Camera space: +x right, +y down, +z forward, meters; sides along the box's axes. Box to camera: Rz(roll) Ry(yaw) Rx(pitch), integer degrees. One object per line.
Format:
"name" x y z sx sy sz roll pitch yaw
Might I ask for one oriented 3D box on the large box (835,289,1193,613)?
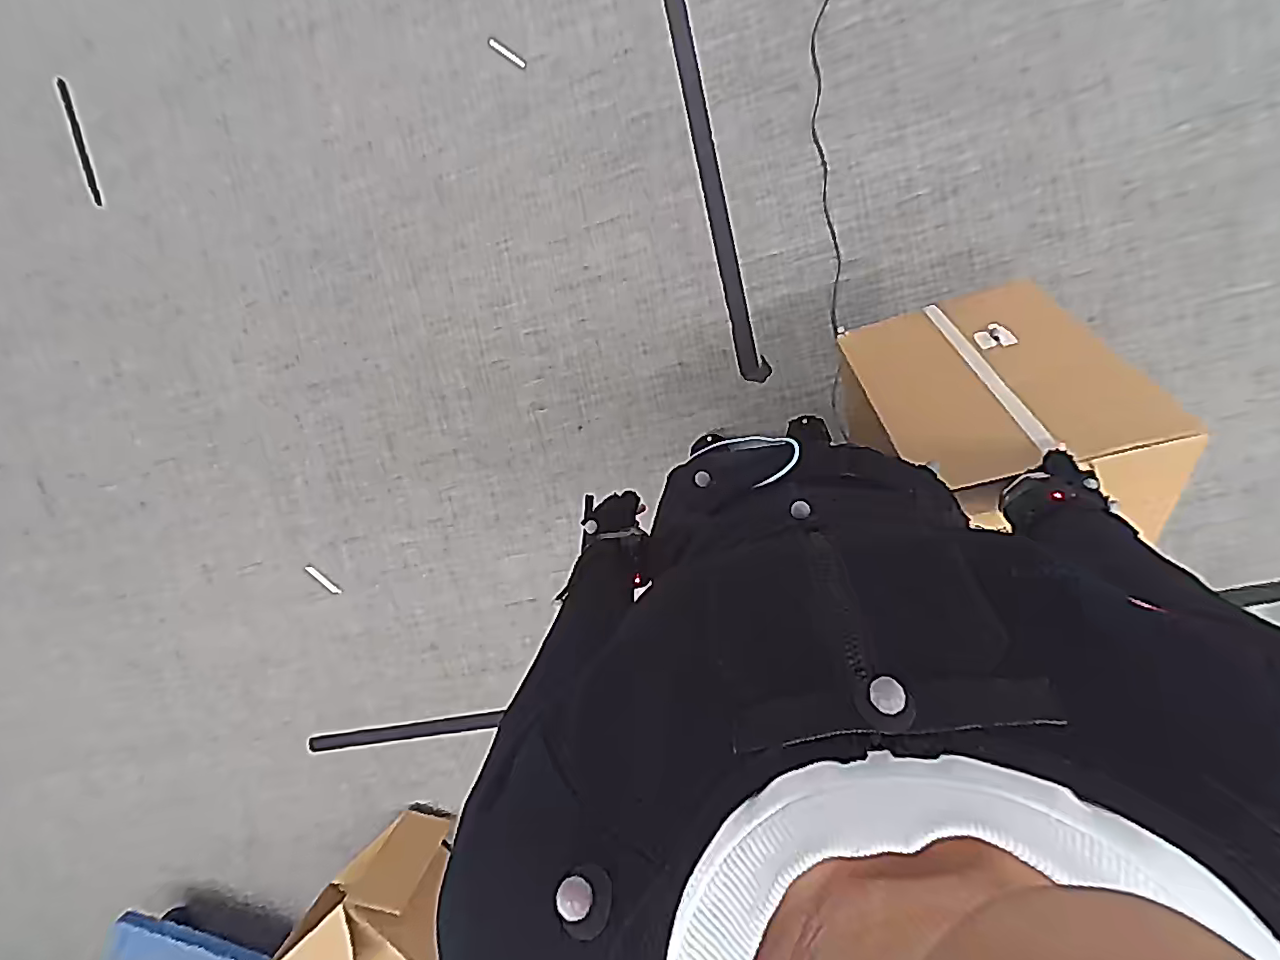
"large box" 0.555 -0.051 0.905 0.320 0.408 0.320 -15 132 11
